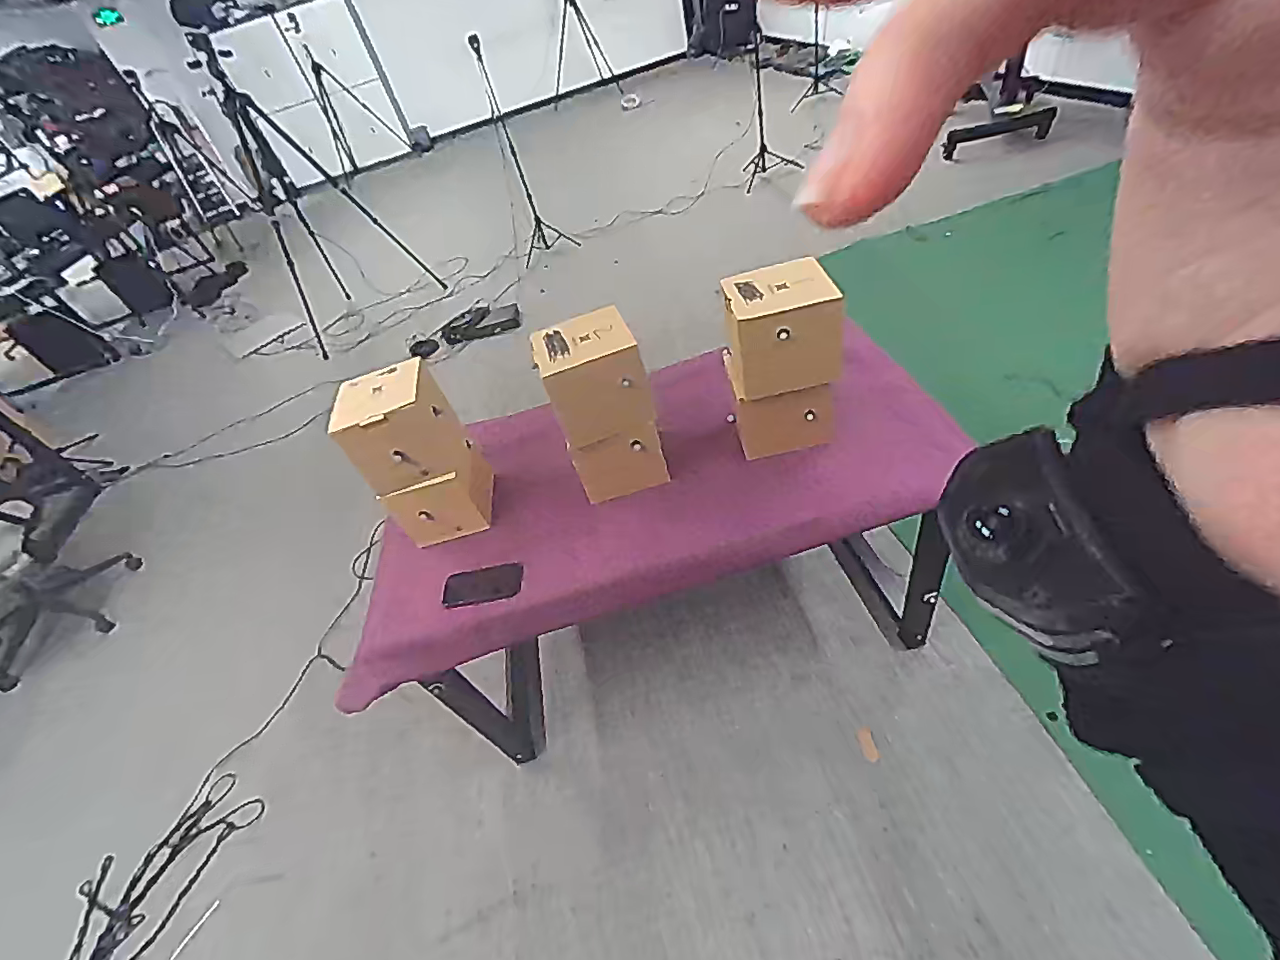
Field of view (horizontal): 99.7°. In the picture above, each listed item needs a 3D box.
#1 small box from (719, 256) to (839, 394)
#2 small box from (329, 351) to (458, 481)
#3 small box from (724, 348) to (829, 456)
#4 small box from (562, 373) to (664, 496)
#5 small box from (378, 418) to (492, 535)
[{"bbox_3d":[0.252,-0.277,0.986,0.179,0.176,0.168,-11,44,6],"label":"small box"},{"bbox_3d":[-0.469,-0.118,1.060,0.168,0.176,0.179,-18,45,-1],"label":"small box"},{"bbox_3d":[0.278,-0.173,1.111,0.179,0.176,0.168,-12,44,8],"label":"small box"},{"bbox_3d":[-0.052,-0.092,1.135,0.179,0.176,0.168,-16,44,3],"label":"small box"},{"bbox_3d":[-0.431,0.000,1.169,0.168,0.176,0.179,-15,44,3],"label":"small box"}]
